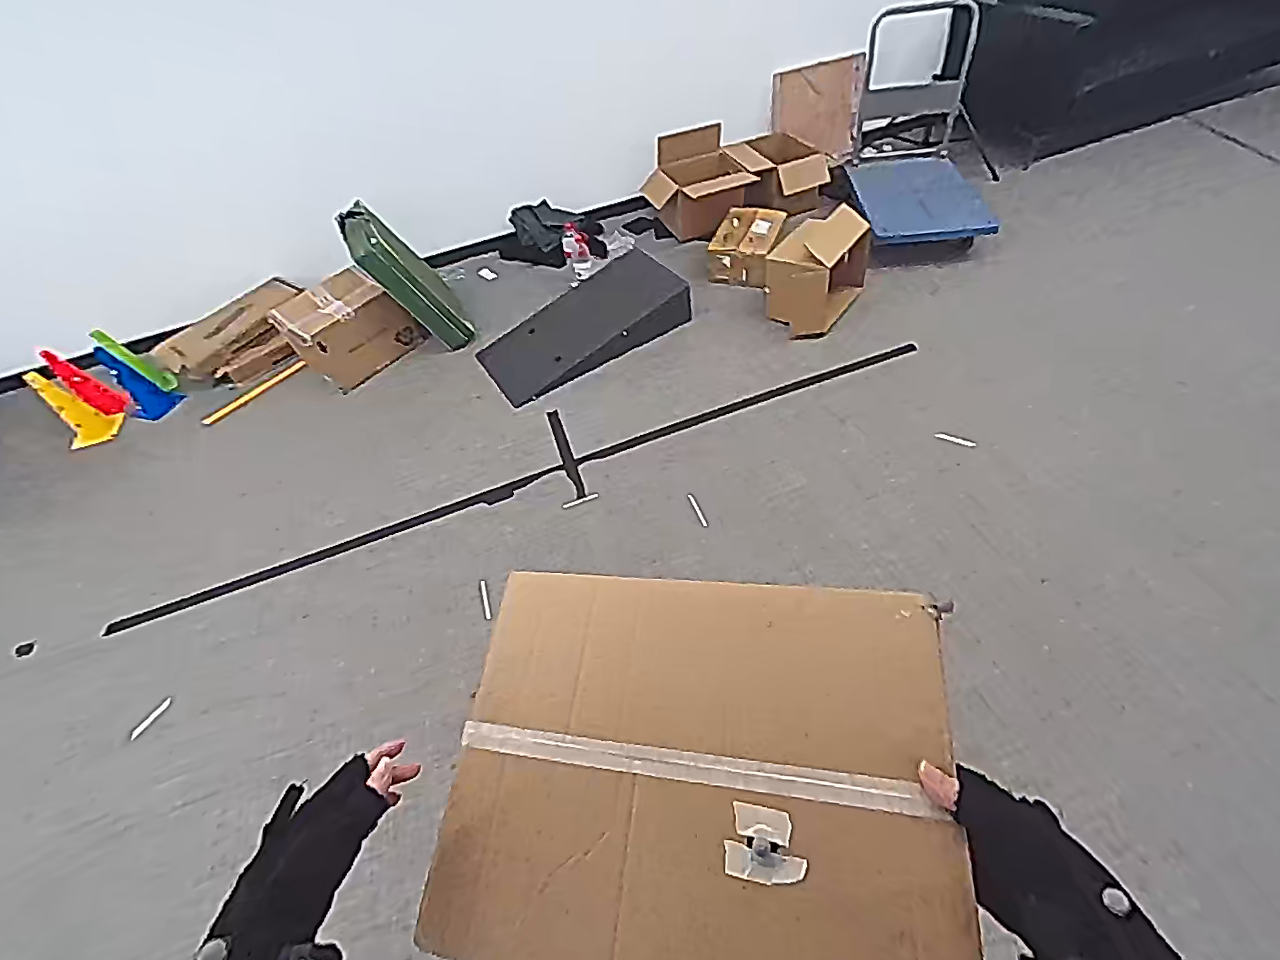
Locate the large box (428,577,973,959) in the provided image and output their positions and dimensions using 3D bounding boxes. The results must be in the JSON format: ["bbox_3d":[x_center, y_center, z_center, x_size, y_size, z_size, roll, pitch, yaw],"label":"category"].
[{"bbox_3d":[0.071,0.306,0.575,0.408,0.320,0.320,-1,61,15],"label":"large box"}]
